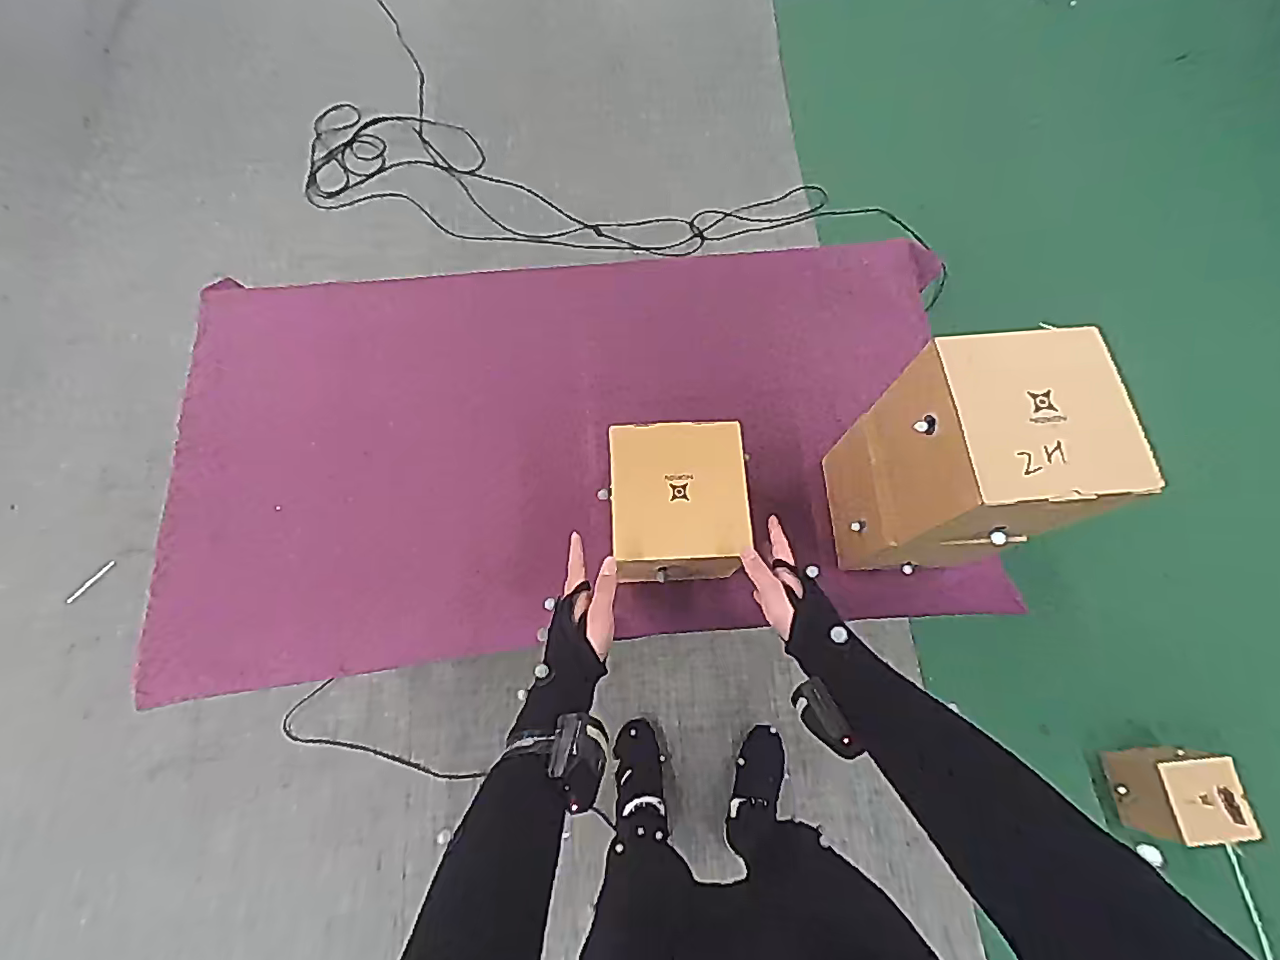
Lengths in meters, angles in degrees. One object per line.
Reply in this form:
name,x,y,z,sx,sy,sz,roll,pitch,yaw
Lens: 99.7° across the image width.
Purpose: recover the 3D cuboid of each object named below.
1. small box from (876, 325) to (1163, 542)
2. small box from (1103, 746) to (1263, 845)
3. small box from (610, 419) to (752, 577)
small box,0.374,-0.040,0.577,0.168,0.176,0.179,-4,71,0
small box,1.260,0.732,1.271,0.179,0.176,0.168,-5,71,-1
small box,0.048,0.034,0.727,0.168,0.176,0.179,-3,70,-1
